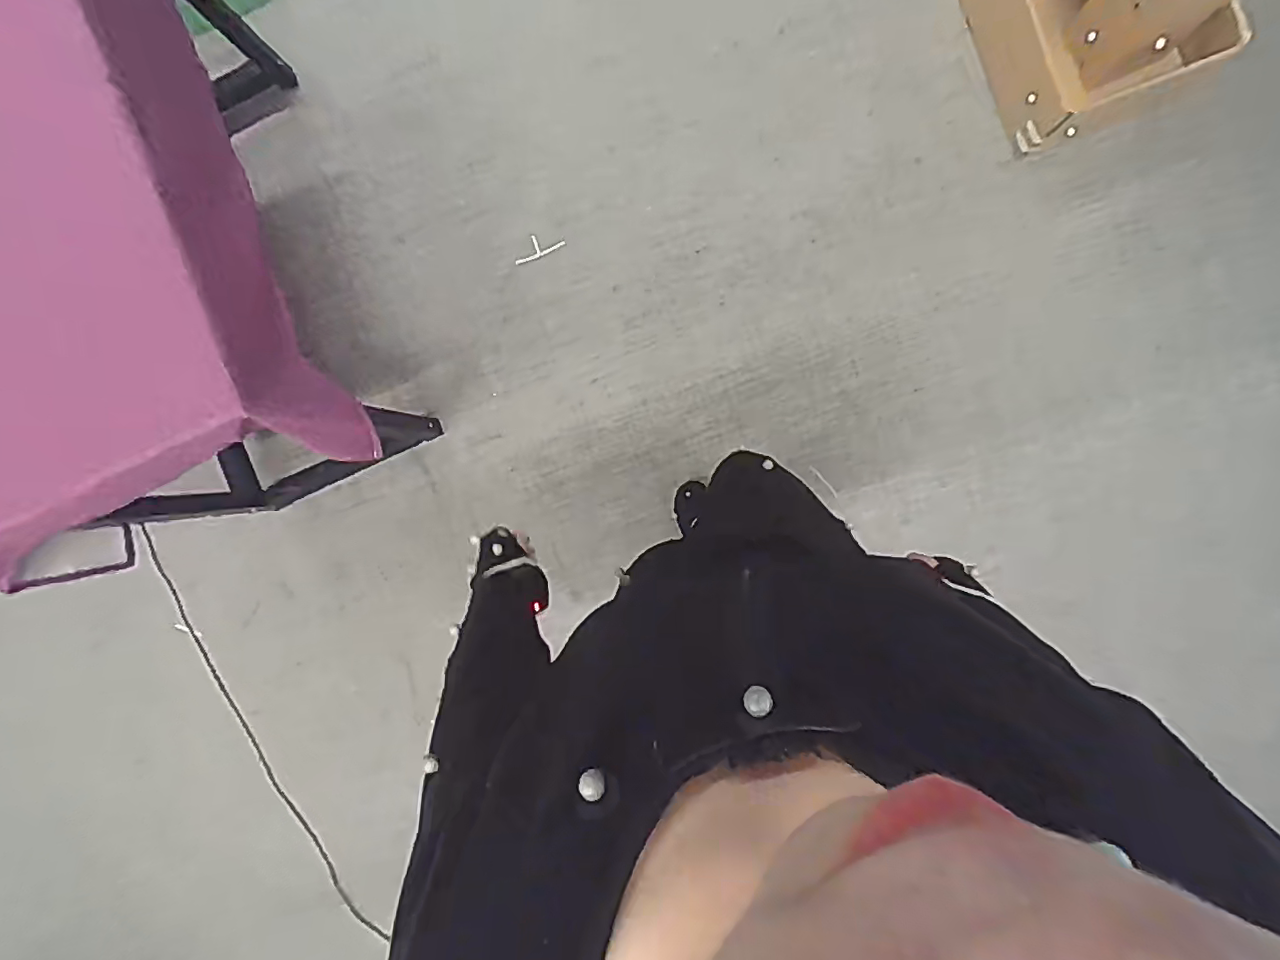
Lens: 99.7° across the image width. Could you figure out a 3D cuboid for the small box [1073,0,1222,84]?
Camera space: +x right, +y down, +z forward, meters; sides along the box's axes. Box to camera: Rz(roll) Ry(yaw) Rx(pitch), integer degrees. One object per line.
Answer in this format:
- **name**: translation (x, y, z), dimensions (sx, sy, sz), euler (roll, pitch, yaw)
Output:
- **small box**: translation (1.150, -1.070, 1.246), dimensions (0.179, 0.176, 0.168), euler (-20, 89, 7)
